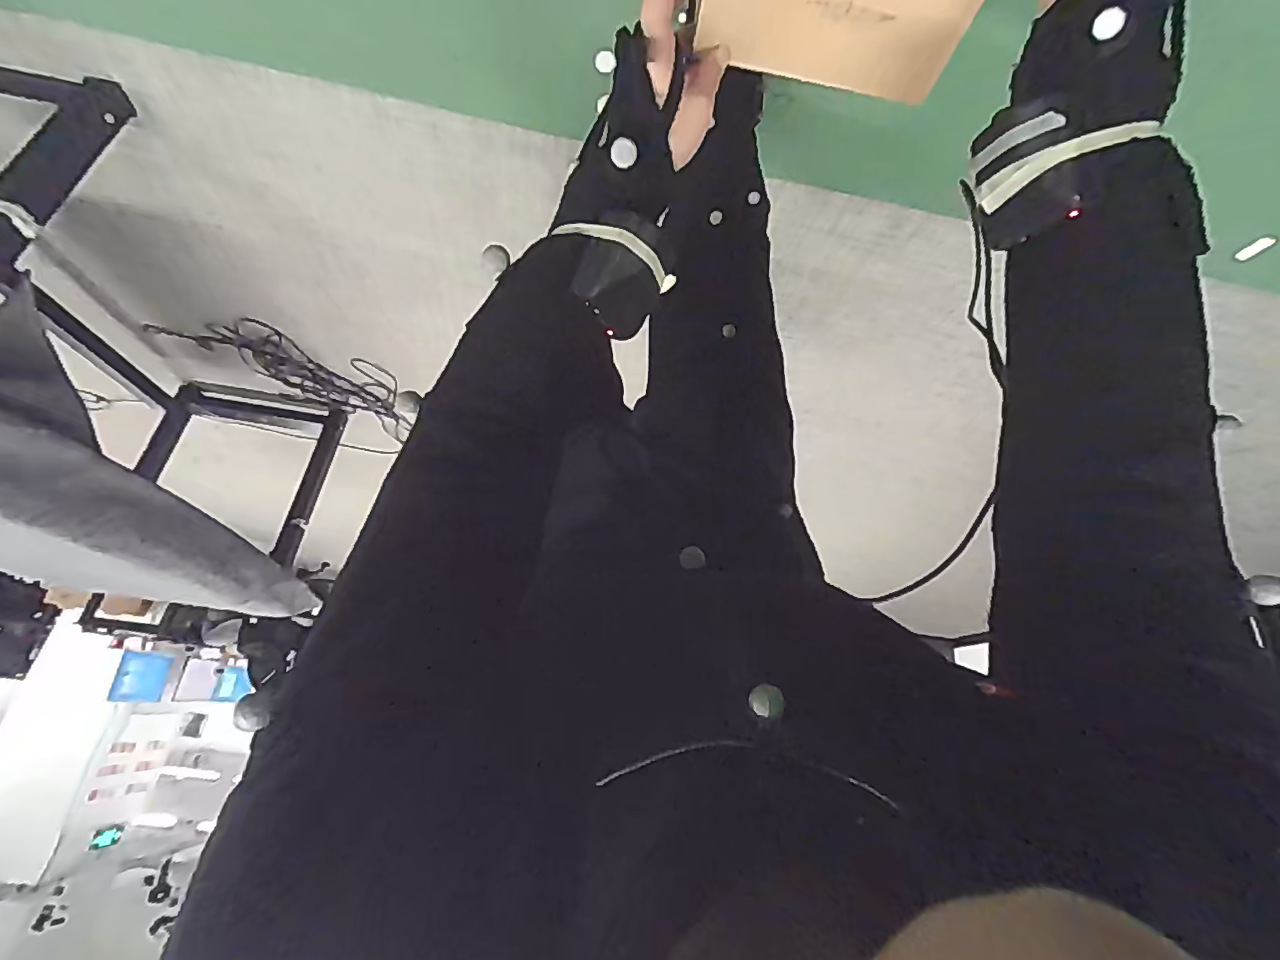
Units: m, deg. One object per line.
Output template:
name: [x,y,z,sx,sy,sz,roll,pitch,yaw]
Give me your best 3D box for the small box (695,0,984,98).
small box: [0.133,-0.377,0.313,0.168,0.176,0.179,9,158,-4]
